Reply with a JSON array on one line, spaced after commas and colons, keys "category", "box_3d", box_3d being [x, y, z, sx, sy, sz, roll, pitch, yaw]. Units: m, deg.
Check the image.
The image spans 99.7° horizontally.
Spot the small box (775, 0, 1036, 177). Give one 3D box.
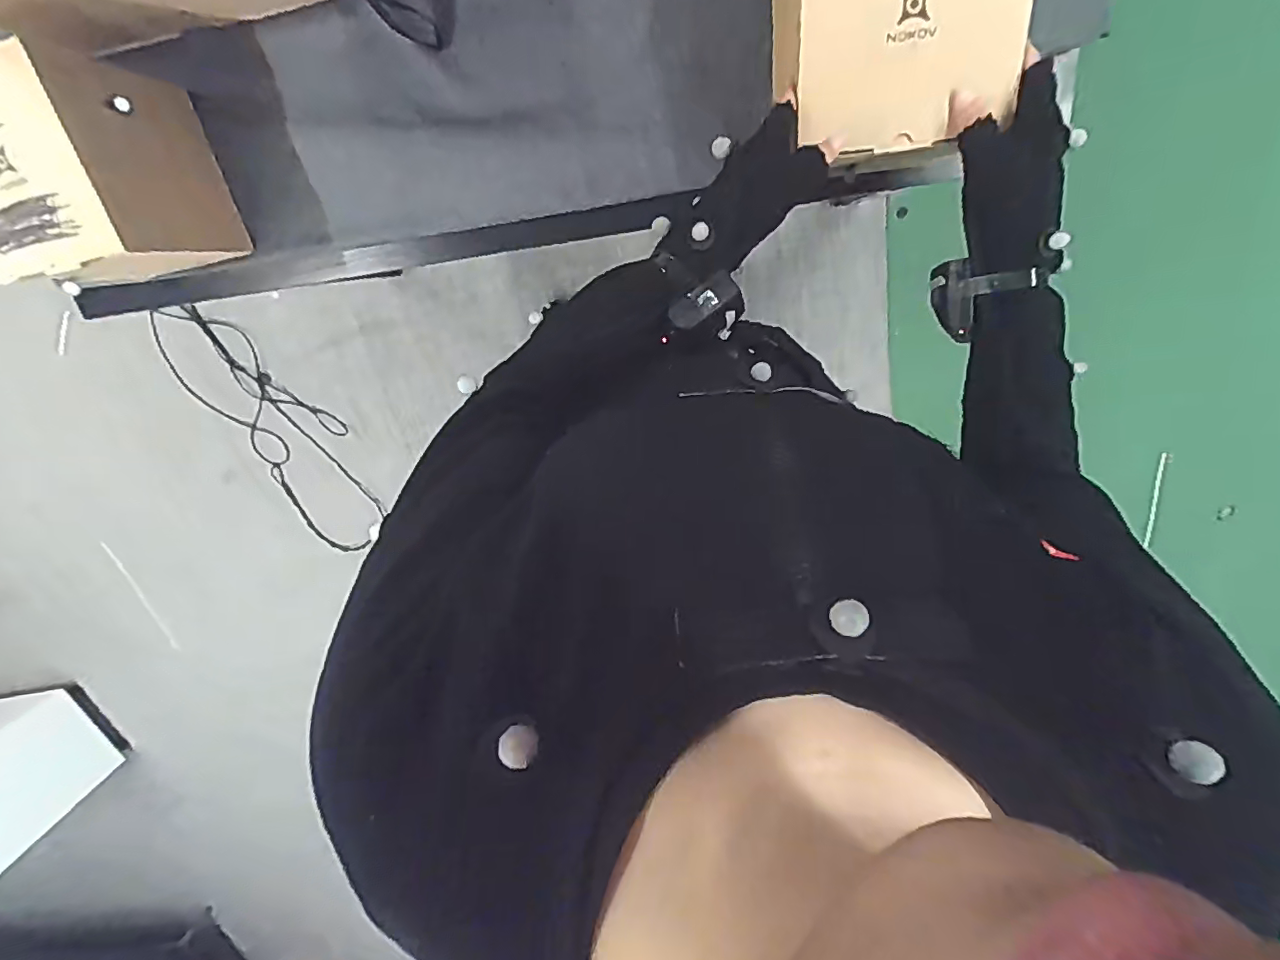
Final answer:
[{"category": "small box", "box_3d": [0.211, -0.379, 0.472, 0.168, 0.176, 0.179, -3, 115, 7]}]
